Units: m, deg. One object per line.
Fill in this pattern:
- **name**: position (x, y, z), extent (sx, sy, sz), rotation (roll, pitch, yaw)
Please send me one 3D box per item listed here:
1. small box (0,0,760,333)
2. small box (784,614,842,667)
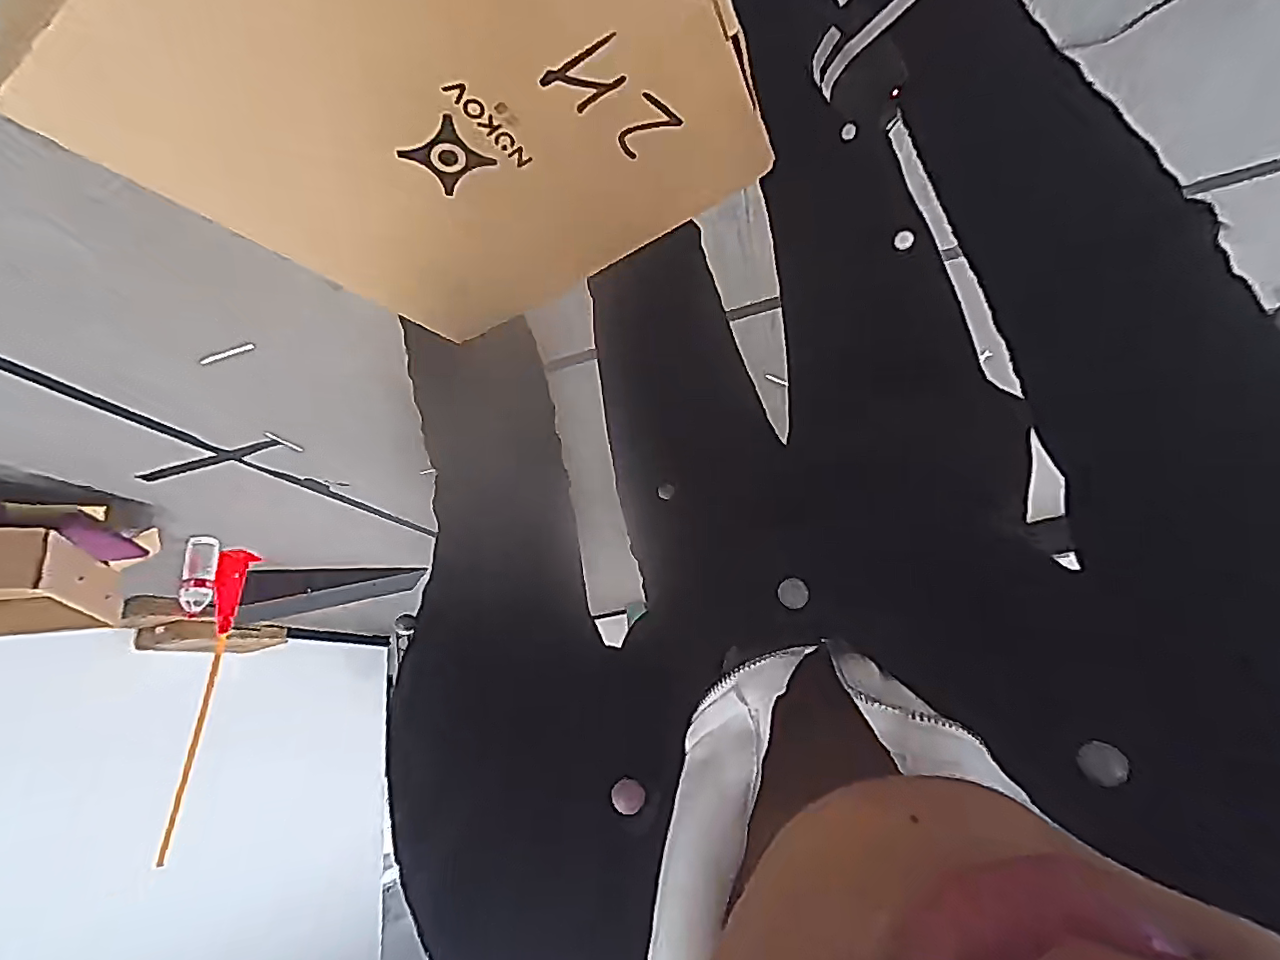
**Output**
- **small box**: position (-0.077, -0.192, 0.204), extent (0.179, 0.176, 0.168), rotation (-21, 163, 22)
- **small box**: position (0.679, 0.630, 2.122), extent (0.179, 0.176, 0.168), rotation (-16, 157, 14)
